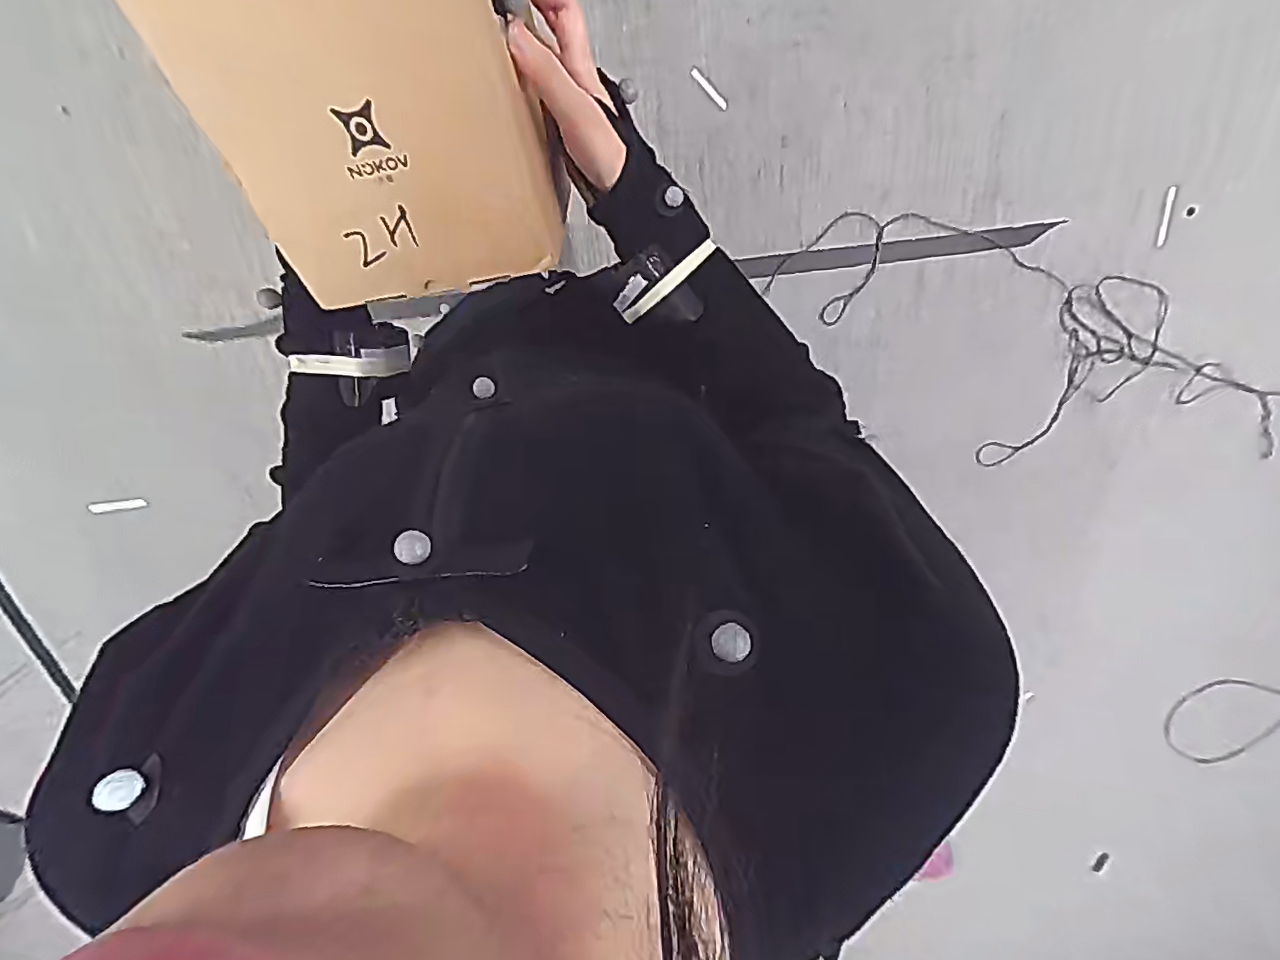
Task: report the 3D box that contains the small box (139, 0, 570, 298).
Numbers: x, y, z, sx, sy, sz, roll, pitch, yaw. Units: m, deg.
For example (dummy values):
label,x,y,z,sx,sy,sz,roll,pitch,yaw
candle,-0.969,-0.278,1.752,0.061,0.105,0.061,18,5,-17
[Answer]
label,x,y,z,sx,sy,sz,roll,pitch,yaw
small box,-0.146,-0.246,0.347,0.168,0.176,0.179,-6,136,5
